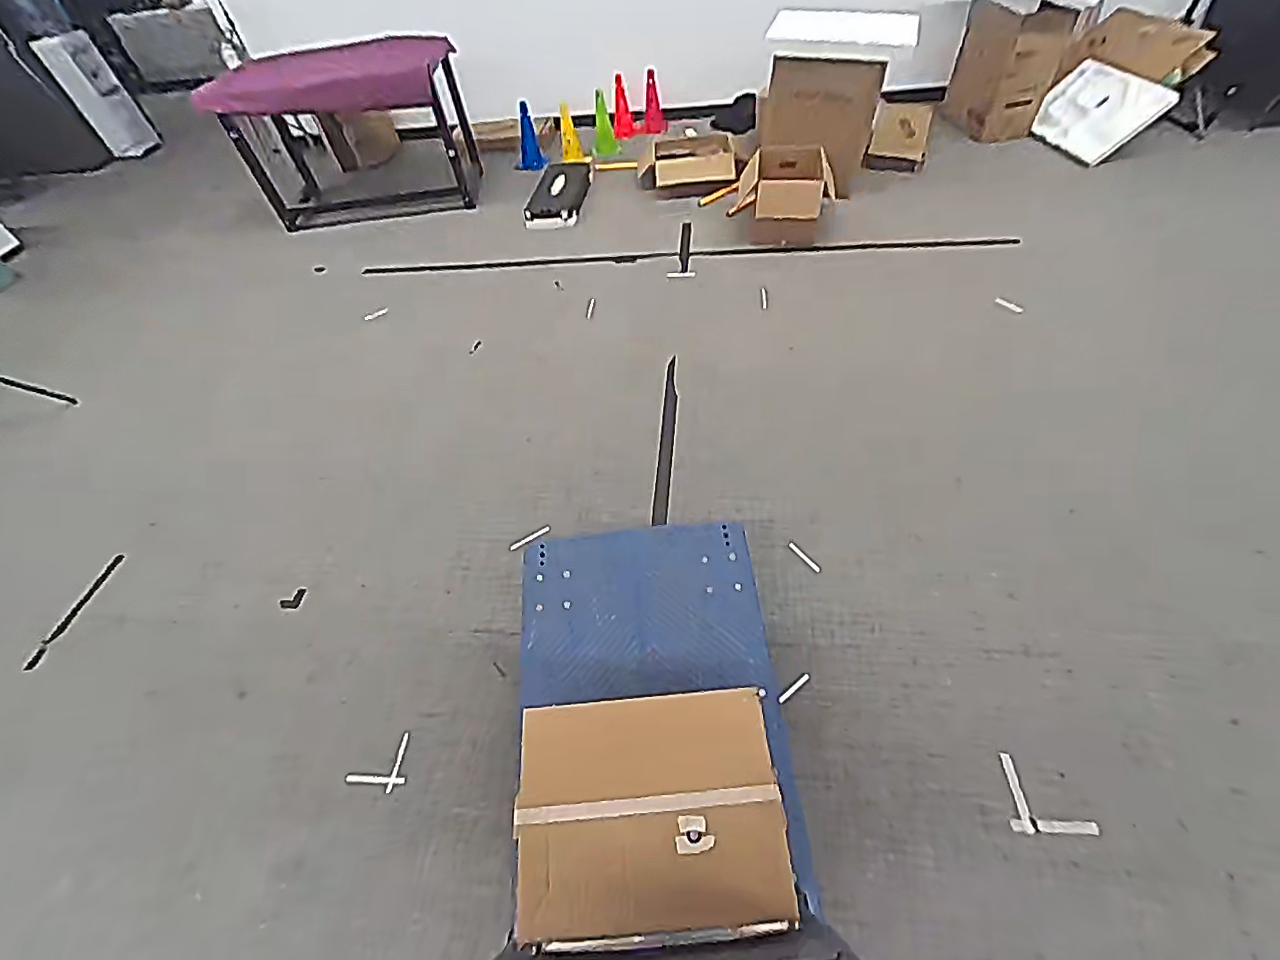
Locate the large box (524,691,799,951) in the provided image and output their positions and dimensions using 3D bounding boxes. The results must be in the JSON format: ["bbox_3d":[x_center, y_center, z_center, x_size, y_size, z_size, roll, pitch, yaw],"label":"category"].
[{"bbox_3d":[0.024,0.590,0.969,0.408,0.320,0.320,-6,59,0],"label":"large box"}]
